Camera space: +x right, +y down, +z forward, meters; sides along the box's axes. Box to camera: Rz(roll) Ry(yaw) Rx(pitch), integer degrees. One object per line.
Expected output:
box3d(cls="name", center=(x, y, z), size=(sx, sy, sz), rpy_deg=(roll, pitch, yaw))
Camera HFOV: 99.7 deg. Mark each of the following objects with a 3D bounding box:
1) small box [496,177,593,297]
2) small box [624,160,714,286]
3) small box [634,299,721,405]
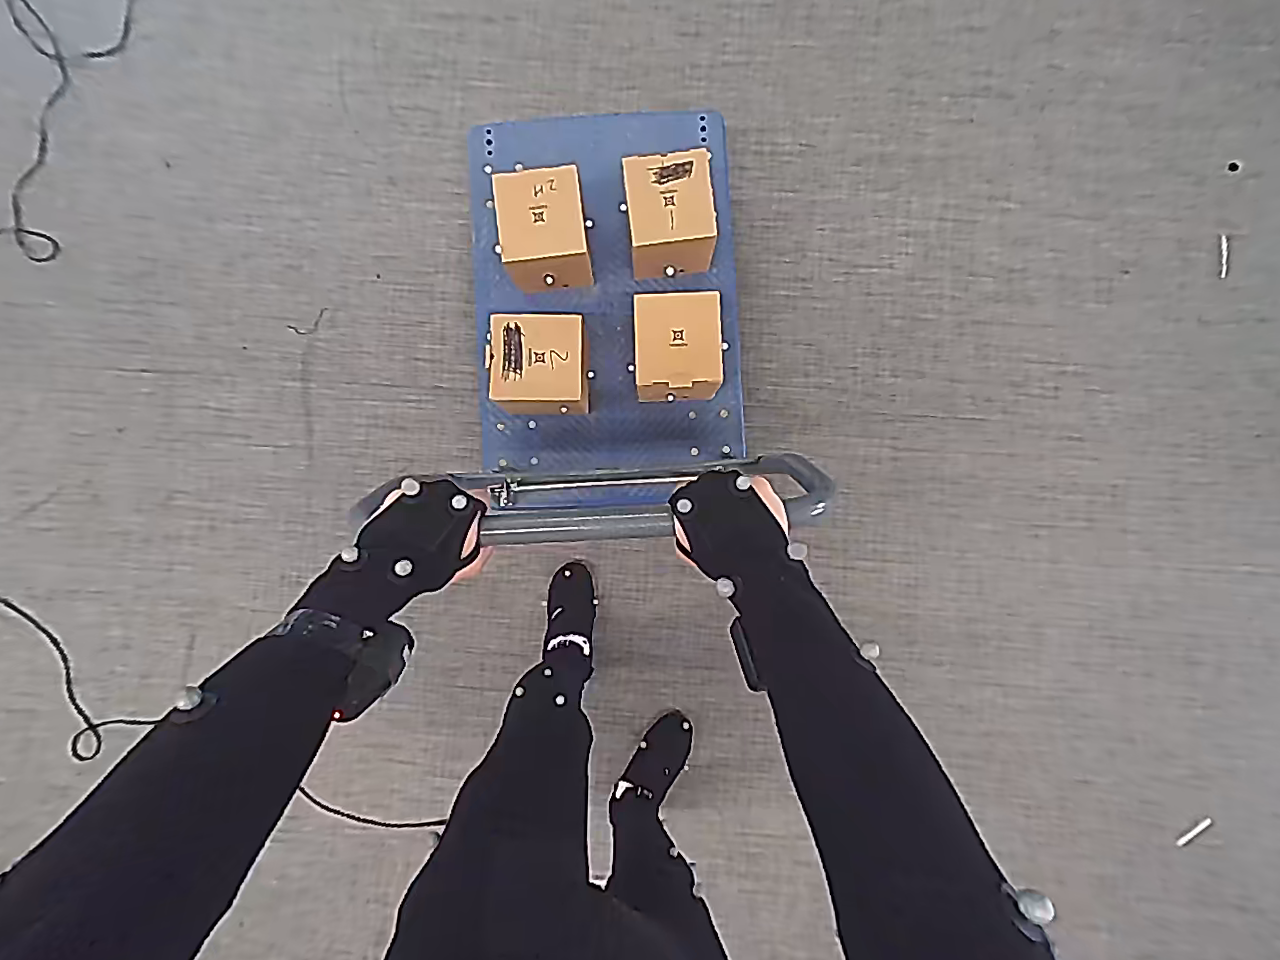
box3d(cls="small box", center=(-0.193, -0.499, 1.137), size=(0.168, 0.176, 0.179), rpy_deg=(-7, 88, -1))
box3d(cls="small box", center=(0.057, -0.531, 1.136), size=(0.168, 0.176, 0.179), rpy_deg=(-7, 89, 1))
box3d(cls="small box", center=(0.073, -0.261, 1.127), size=(0.168, 0.176, 0.179), rpy_deg=(-2, 88, 0))
